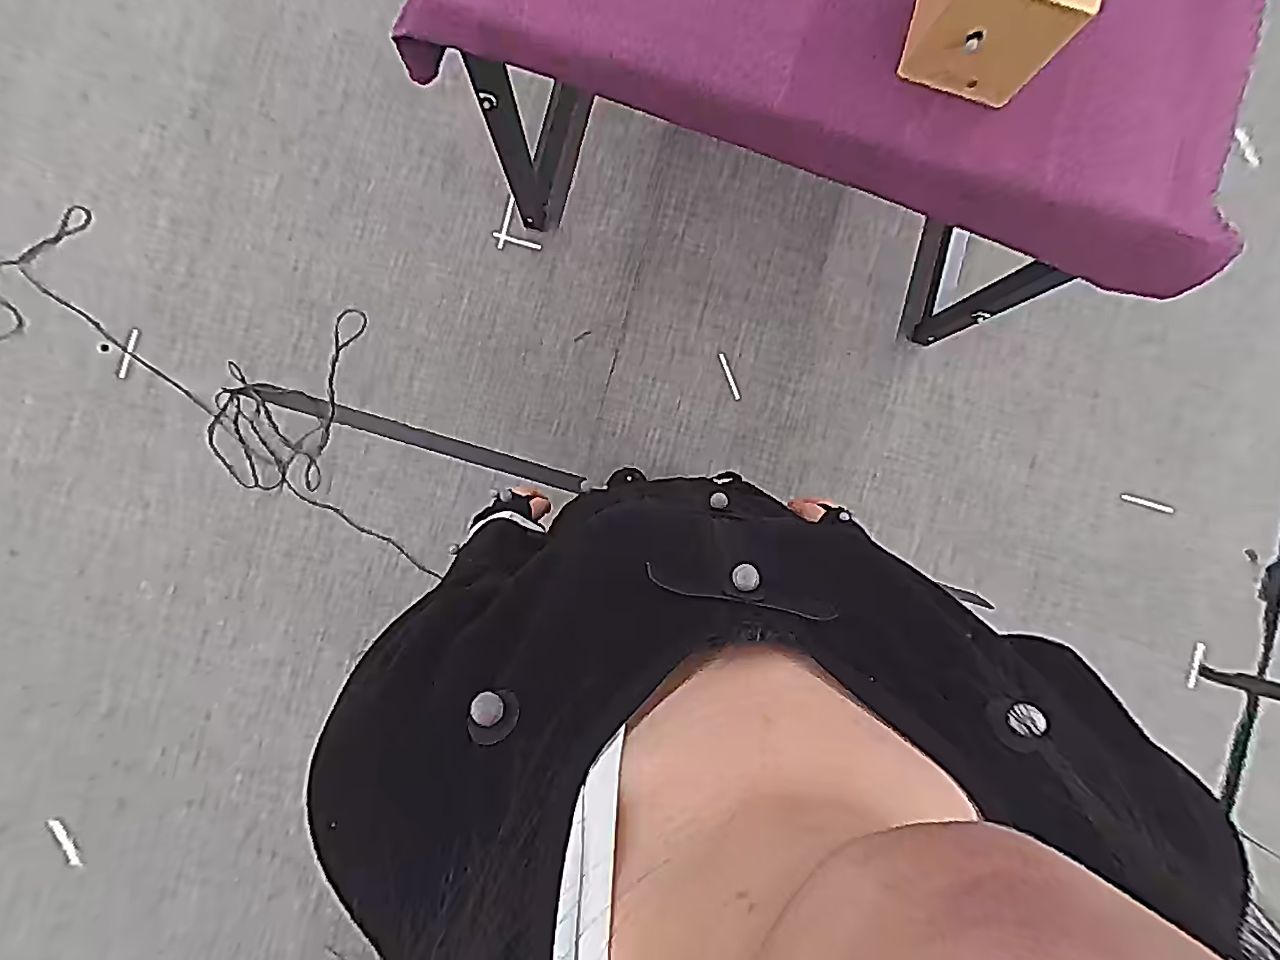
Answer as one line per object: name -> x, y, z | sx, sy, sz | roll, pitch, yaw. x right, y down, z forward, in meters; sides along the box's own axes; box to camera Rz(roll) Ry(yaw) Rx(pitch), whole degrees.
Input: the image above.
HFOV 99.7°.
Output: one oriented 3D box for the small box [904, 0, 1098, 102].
small box -> 0.484, -0.657, 0.722 | 0.168, 0.176, 0.179 | 16, 88, -2
